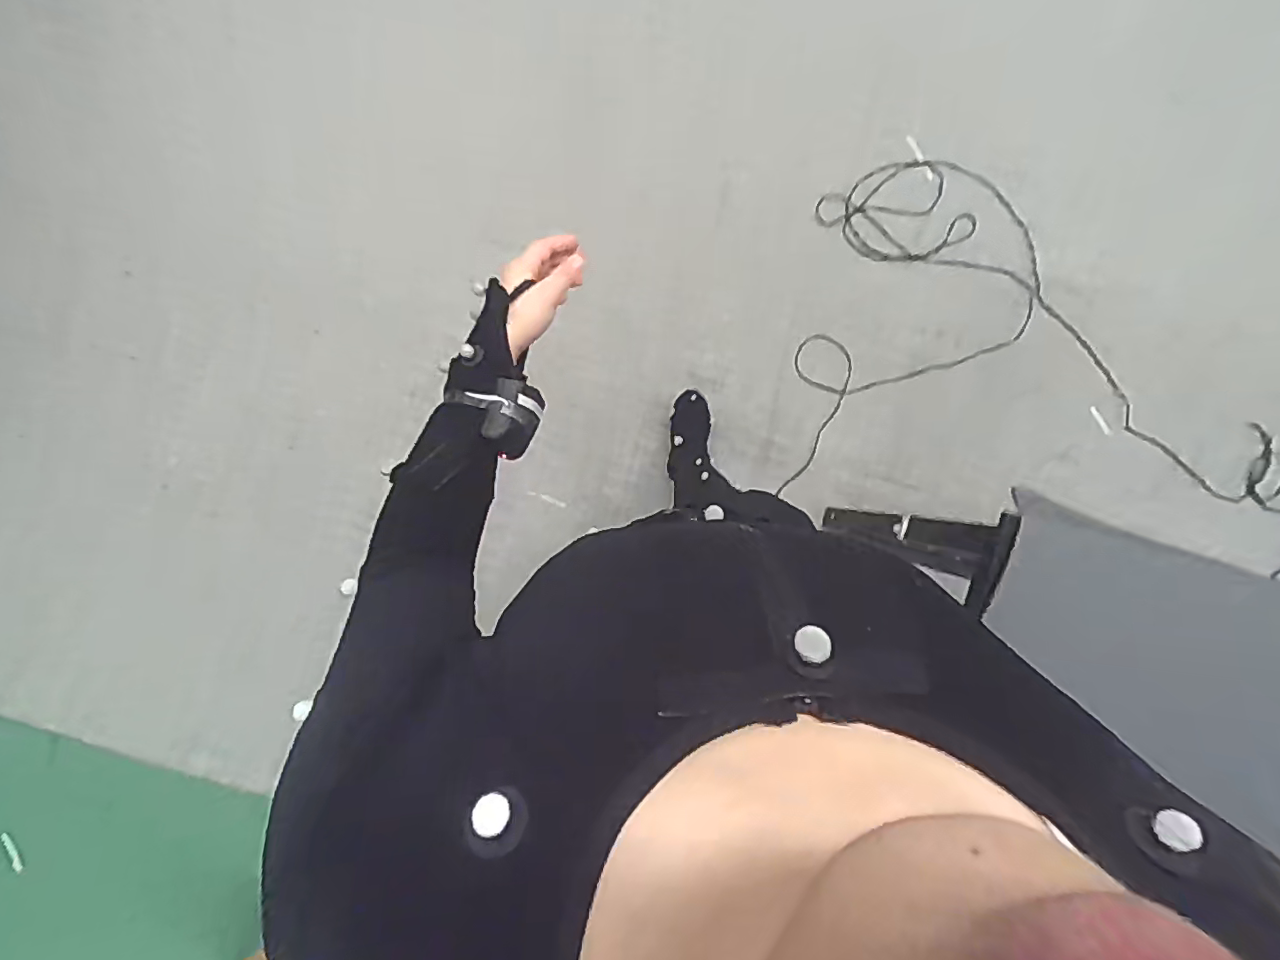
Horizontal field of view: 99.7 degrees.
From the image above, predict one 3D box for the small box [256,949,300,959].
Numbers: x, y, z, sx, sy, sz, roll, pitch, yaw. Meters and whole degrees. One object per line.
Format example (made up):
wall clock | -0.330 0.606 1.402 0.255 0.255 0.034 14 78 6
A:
small box | -0.944 1.337 1.351 0.179 0.176 0.168 22 88 -1
